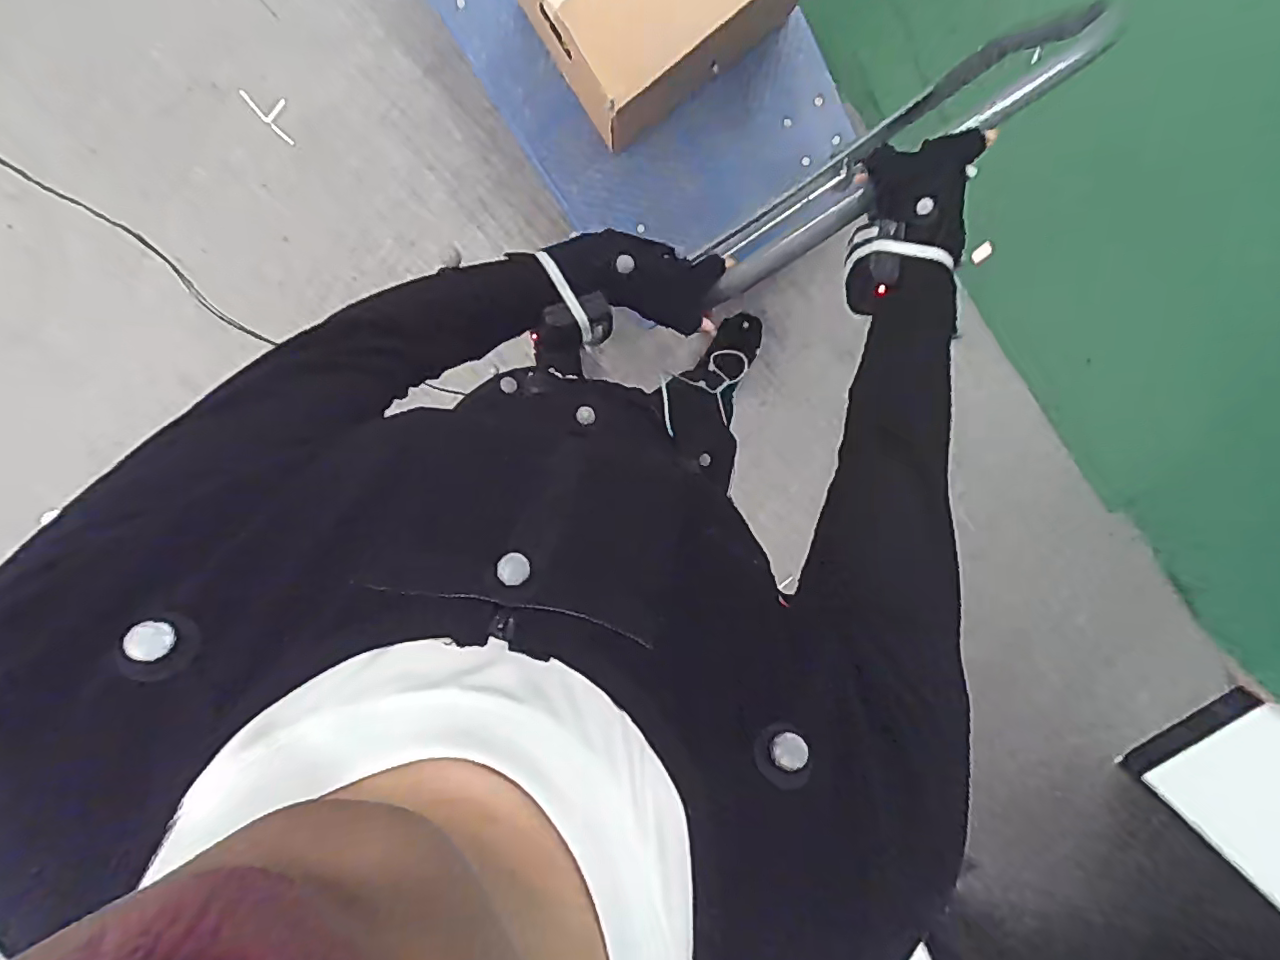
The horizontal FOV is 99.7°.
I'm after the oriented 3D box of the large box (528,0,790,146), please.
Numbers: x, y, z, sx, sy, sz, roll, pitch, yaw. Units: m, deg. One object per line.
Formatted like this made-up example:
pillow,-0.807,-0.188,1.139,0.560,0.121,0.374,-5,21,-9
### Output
large box,0.040,-0.842,0.876,0.408,0.320,0.320,-34,108,12
